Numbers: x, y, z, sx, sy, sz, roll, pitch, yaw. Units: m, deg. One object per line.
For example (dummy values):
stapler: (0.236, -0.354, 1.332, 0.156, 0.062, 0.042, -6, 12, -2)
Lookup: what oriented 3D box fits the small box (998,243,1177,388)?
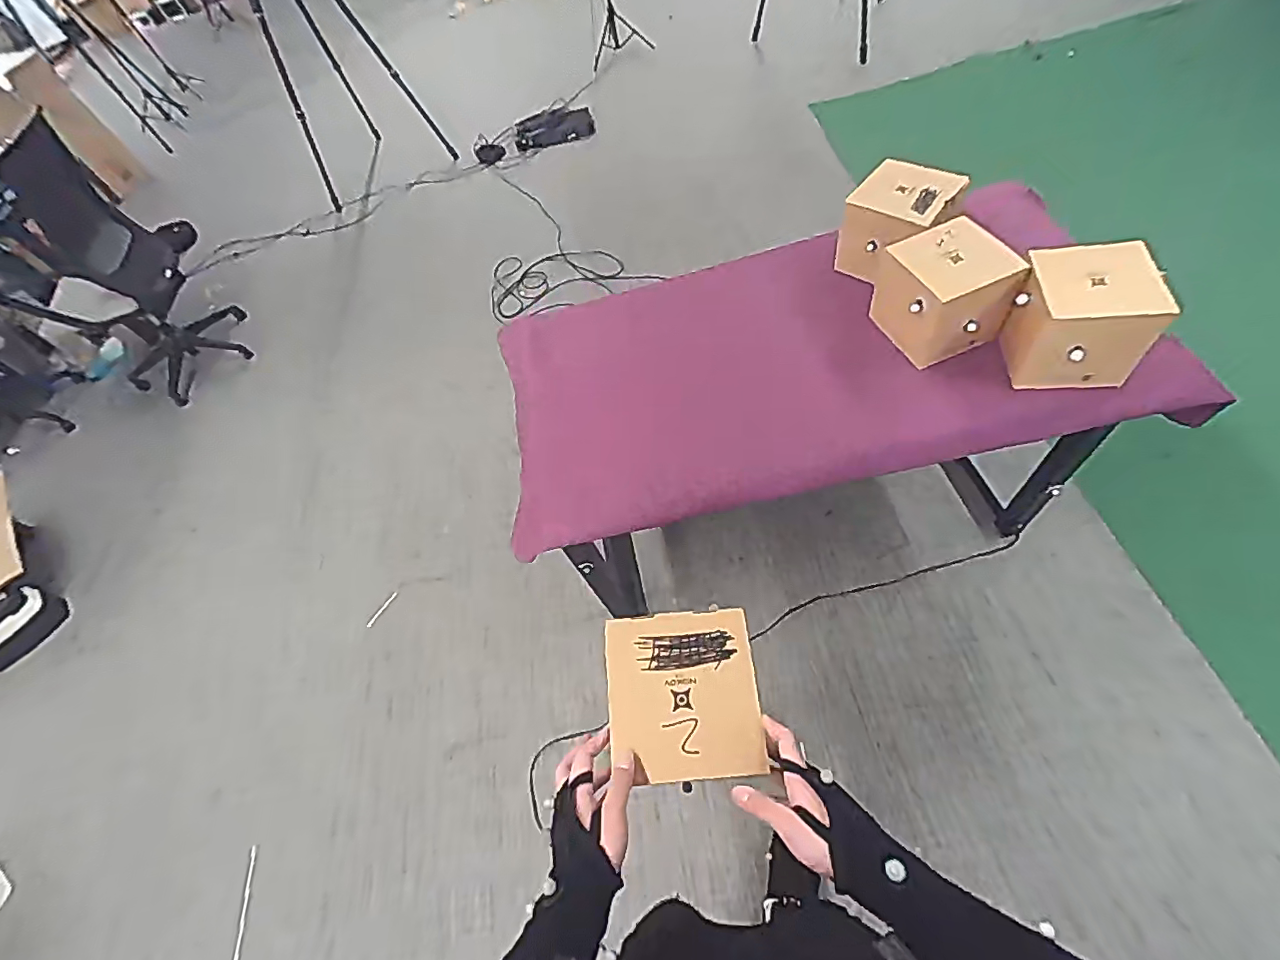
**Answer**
small box: (0.743, -0.271, 0.923, 0.168, 0.176, 0.179, 1, 57, 14)
